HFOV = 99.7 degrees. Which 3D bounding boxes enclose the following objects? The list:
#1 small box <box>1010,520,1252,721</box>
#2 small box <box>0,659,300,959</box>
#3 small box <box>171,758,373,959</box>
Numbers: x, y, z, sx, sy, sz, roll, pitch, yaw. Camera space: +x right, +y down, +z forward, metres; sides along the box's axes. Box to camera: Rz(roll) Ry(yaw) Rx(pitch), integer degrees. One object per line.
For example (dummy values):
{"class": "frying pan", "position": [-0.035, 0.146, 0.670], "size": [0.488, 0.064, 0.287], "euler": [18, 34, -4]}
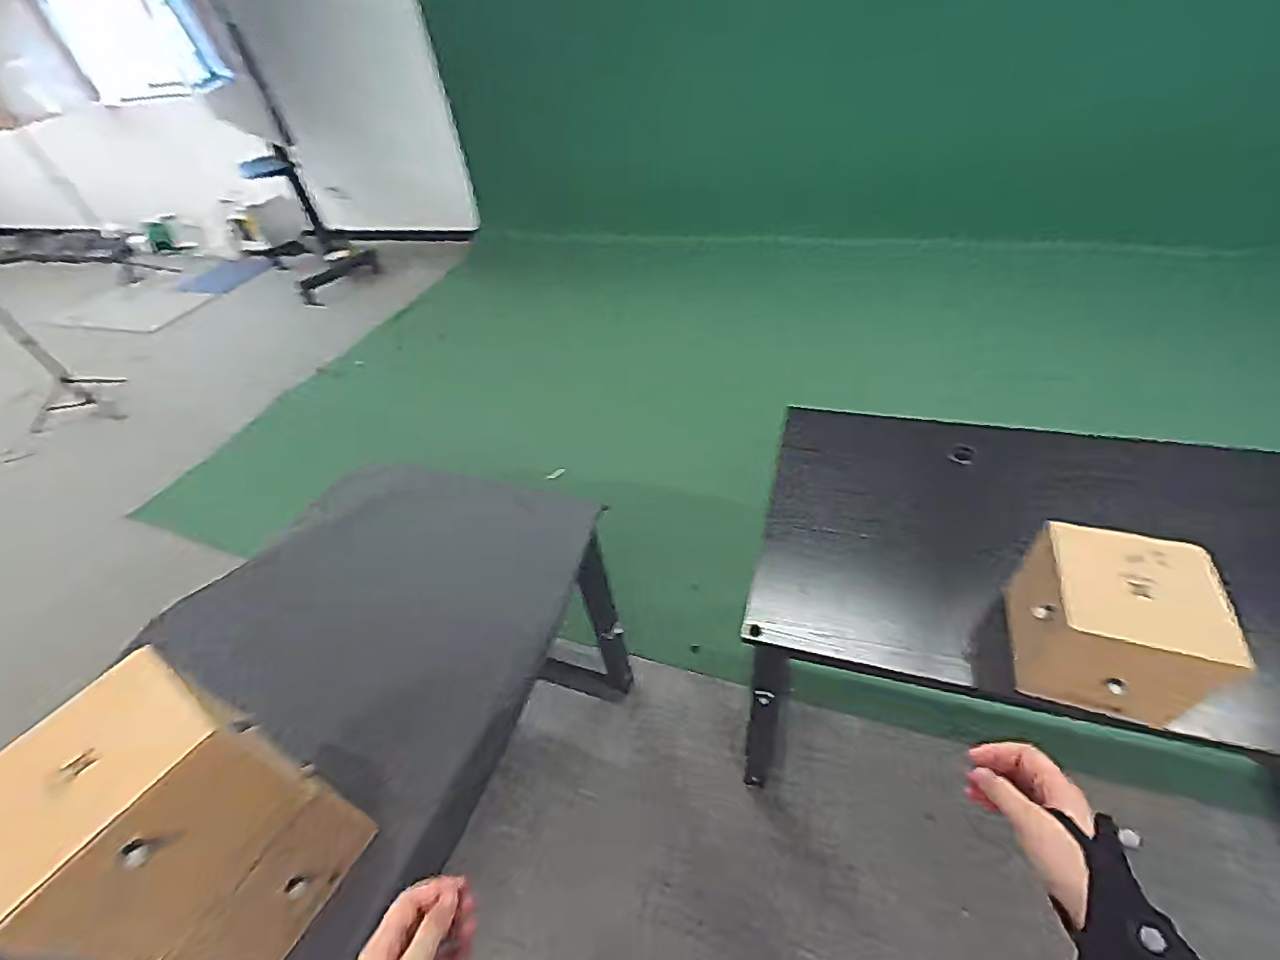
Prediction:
{"class": "small box", "position": [0.609, 0.182, 0.703], "size": [0.168, 0.176, 0.179], "euler": [11, 47, 19]}
{"class": "small box", "position": [-0.466, 0.313, 0.512], "size": [0.168, 0.176, 0.179], "euler": [20, 52, 29]}
{"class": "small box", "position": [-0.453, 0.431, 0.625], "size": [0.179, 0.176, 0.168], "euler": [16, 49, 24]}
